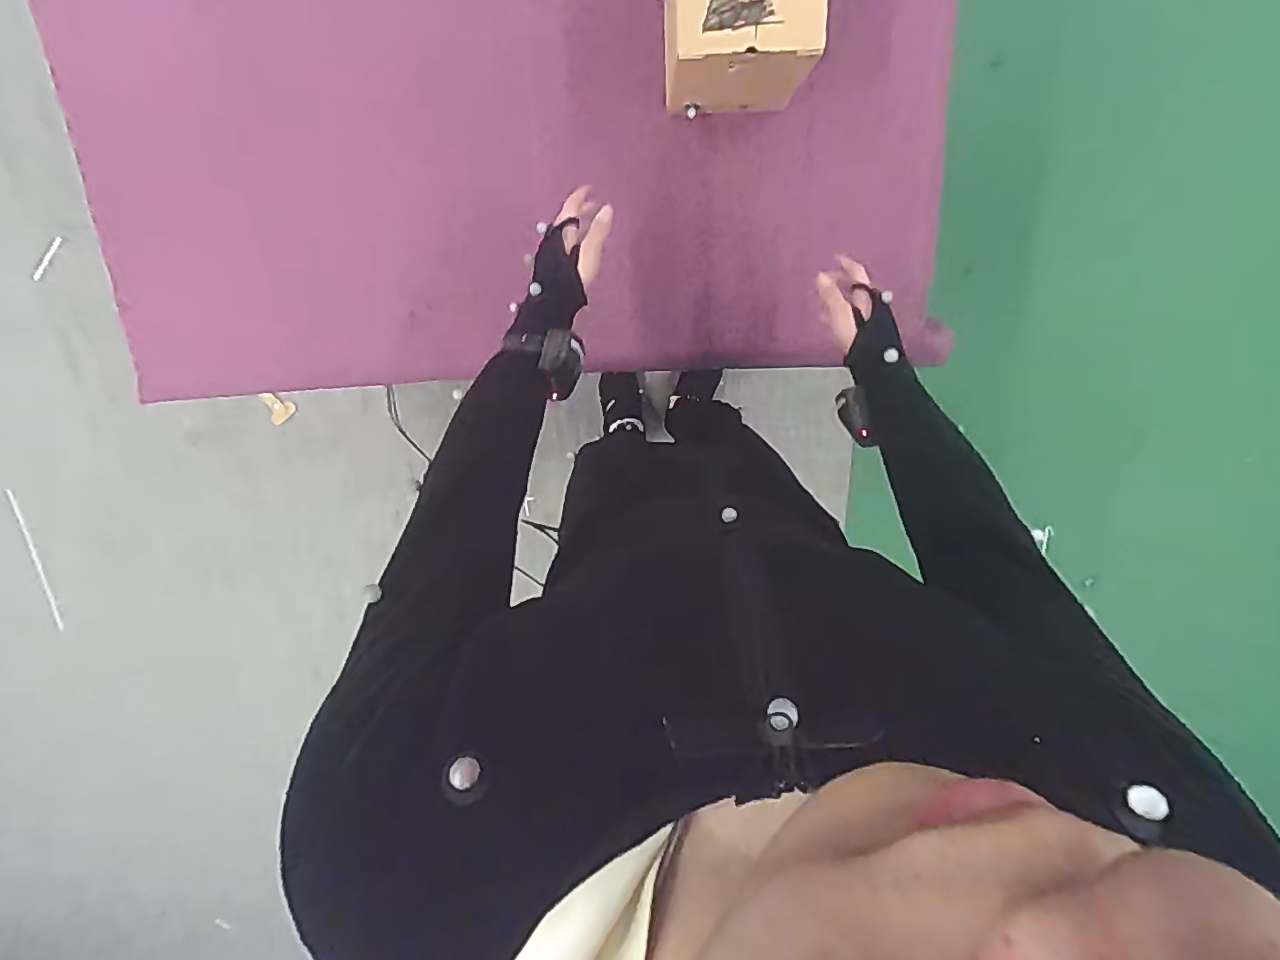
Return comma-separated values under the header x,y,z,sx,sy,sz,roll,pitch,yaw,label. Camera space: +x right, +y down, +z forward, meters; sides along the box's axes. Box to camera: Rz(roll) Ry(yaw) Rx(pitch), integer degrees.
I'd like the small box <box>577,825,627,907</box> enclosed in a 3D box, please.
x,y,z,sx,sy,sz,roll,pitch,yaw,label
-0.131,1.360,1.910,0.168,0.176,0.179,0,106,-1,small box

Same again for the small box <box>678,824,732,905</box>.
x,y,z,sx,sy,sz,roll,pitch,yaw,label
0.227,1.361,1.916,0.168,0.176,0.179,-1,107,-1,small box

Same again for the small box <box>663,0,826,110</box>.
x,y,z,sx,sy,sz,roll,pitch,yaw,label
0.115,-0.563,0.639,0.168,0.176,0.179,-2,105,0,small box
